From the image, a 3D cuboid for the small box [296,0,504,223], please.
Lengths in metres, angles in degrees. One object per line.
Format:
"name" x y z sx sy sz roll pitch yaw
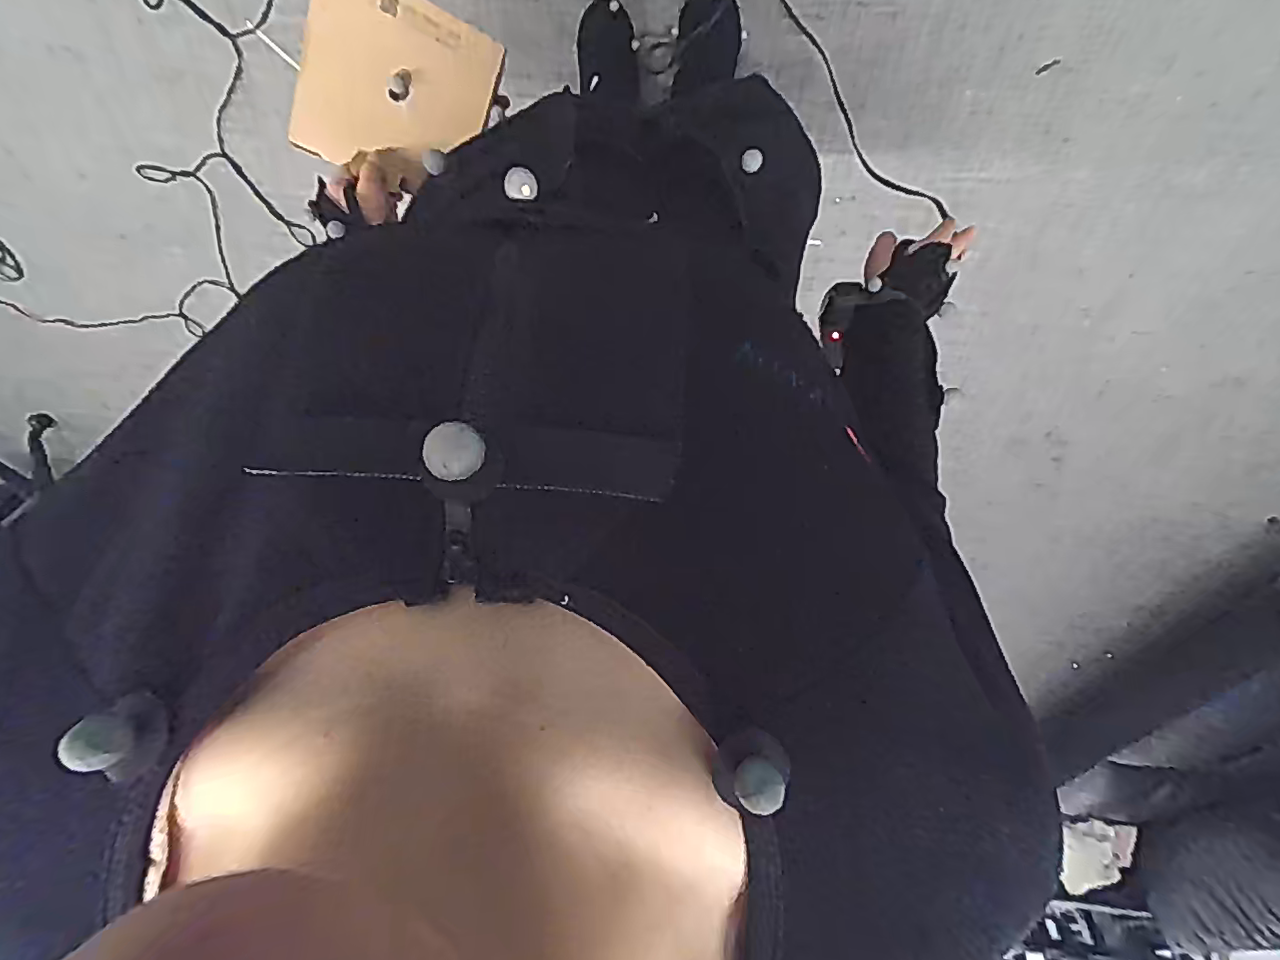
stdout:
"small box" -0.258 -0.411 0.603 0.168 0.179 0.176 16 113 -24
